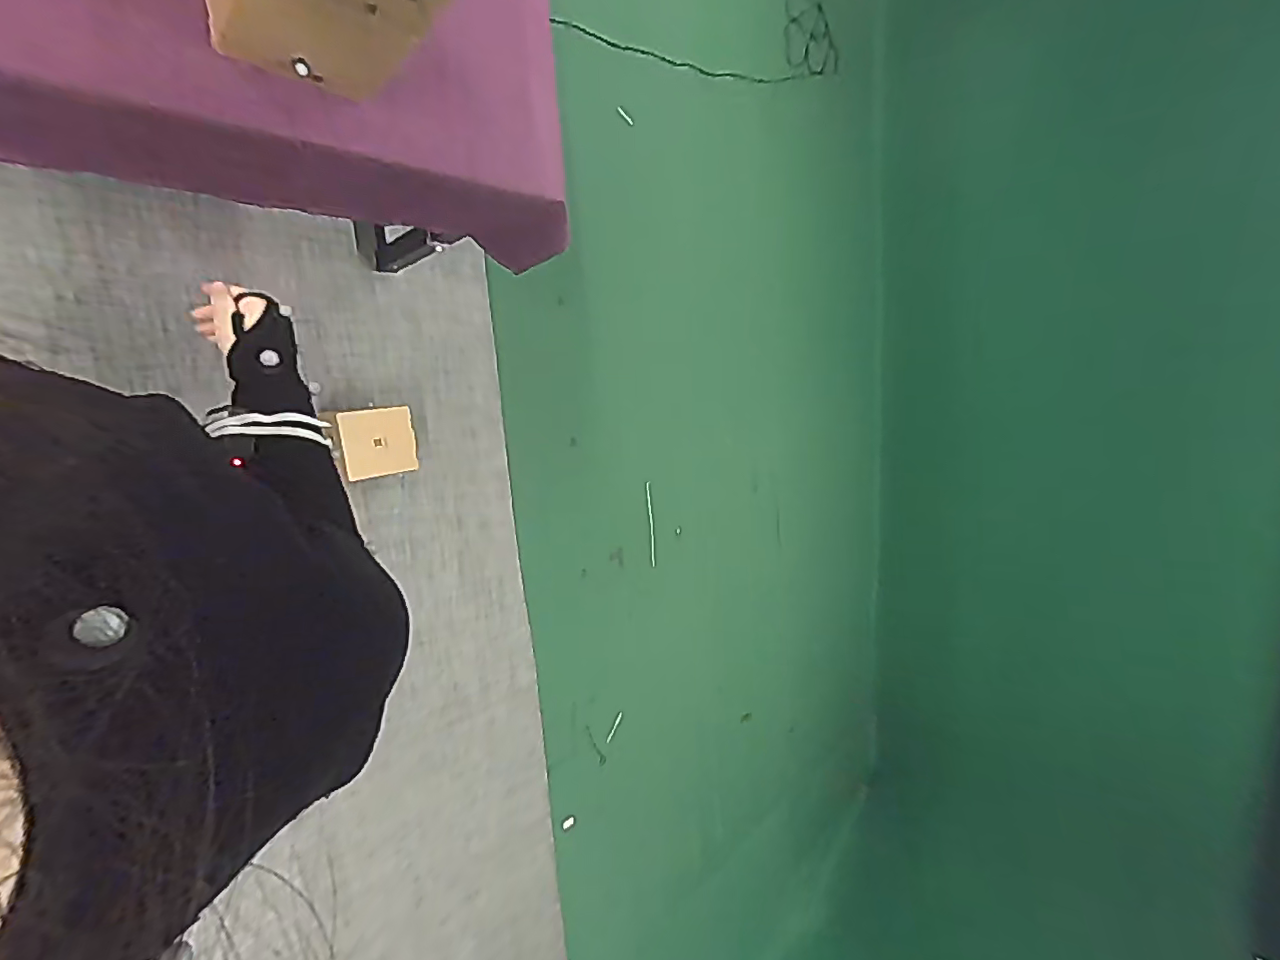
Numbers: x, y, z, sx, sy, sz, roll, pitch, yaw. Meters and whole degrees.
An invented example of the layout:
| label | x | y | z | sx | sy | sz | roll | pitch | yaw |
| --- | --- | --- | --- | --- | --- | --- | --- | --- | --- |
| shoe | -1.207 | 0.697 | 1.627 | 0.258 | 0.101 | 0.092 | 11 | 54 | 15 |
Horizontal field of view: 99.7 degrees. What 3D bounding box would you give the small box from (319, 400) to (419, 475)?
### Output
| label | x | y | z | sx | sy | sz | roll | pitch | yaw |
| --- | --- | --- | --- | --- | --- | --- | --- | --- | --- |
| small box | -0.700 | -0.112 | 1.388 | 0.179 | 0.176 | 0.168 | -17 | 107 | -45 |
